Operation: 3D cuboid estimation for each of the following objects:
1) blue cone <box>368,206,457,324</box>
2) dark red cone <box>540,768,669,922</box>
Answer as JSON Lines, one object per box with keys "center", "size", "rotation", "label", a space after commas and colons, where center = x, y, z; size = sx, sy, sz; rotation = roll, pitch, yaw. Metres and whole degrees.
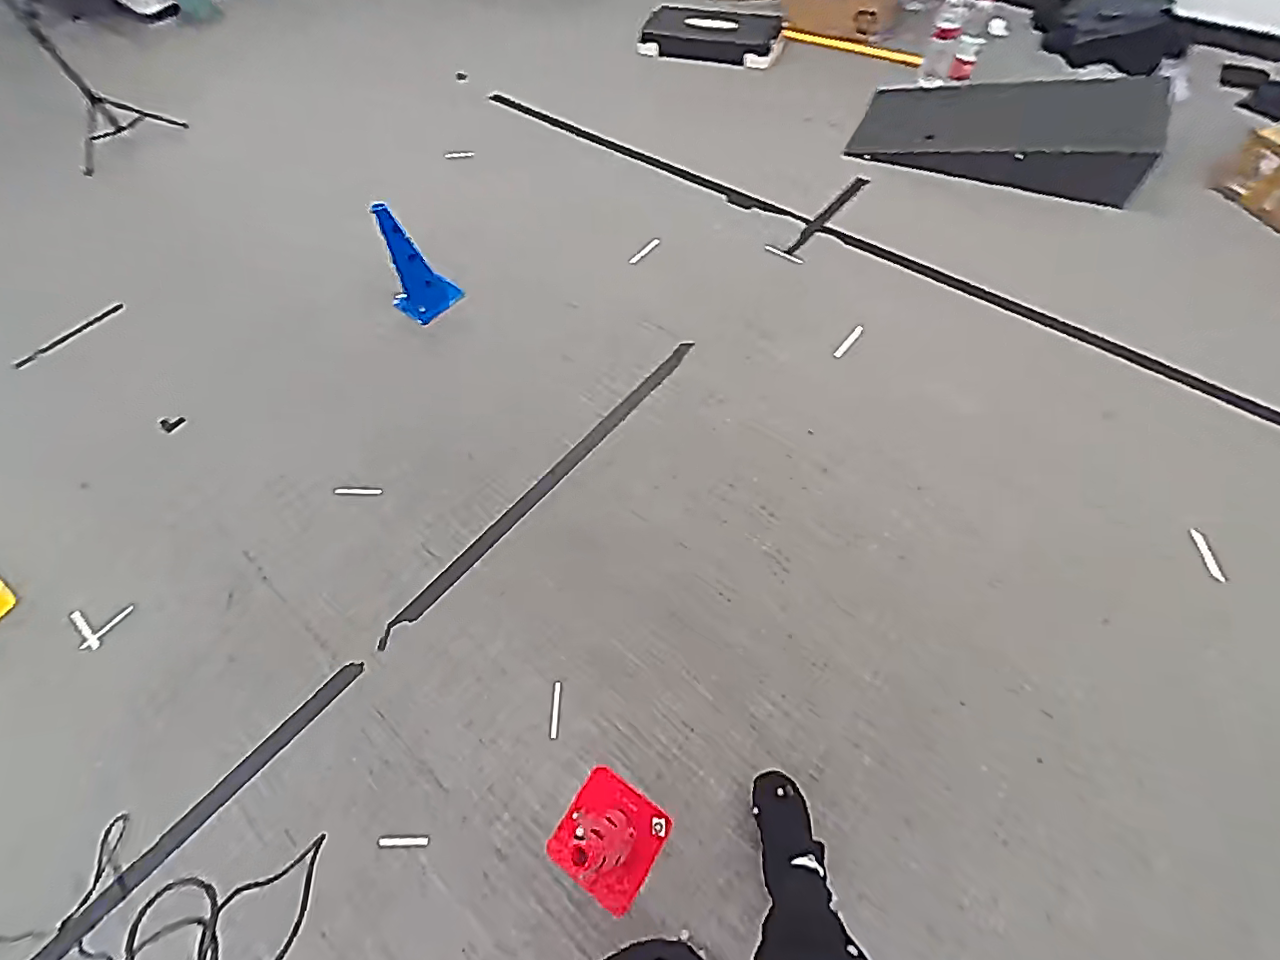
{"center": [-0.787, -0.725, 1.800], "size": [0.192, 0.380, 0.193], "rotation": [36, 70, 24], "label": "blue cone"}
{"center": [-0.086, 0.634, 0.927], "size": [0.201, 0.394, 0.202], "rotation": [27, 67, 20], "label": "dark red cone"}
